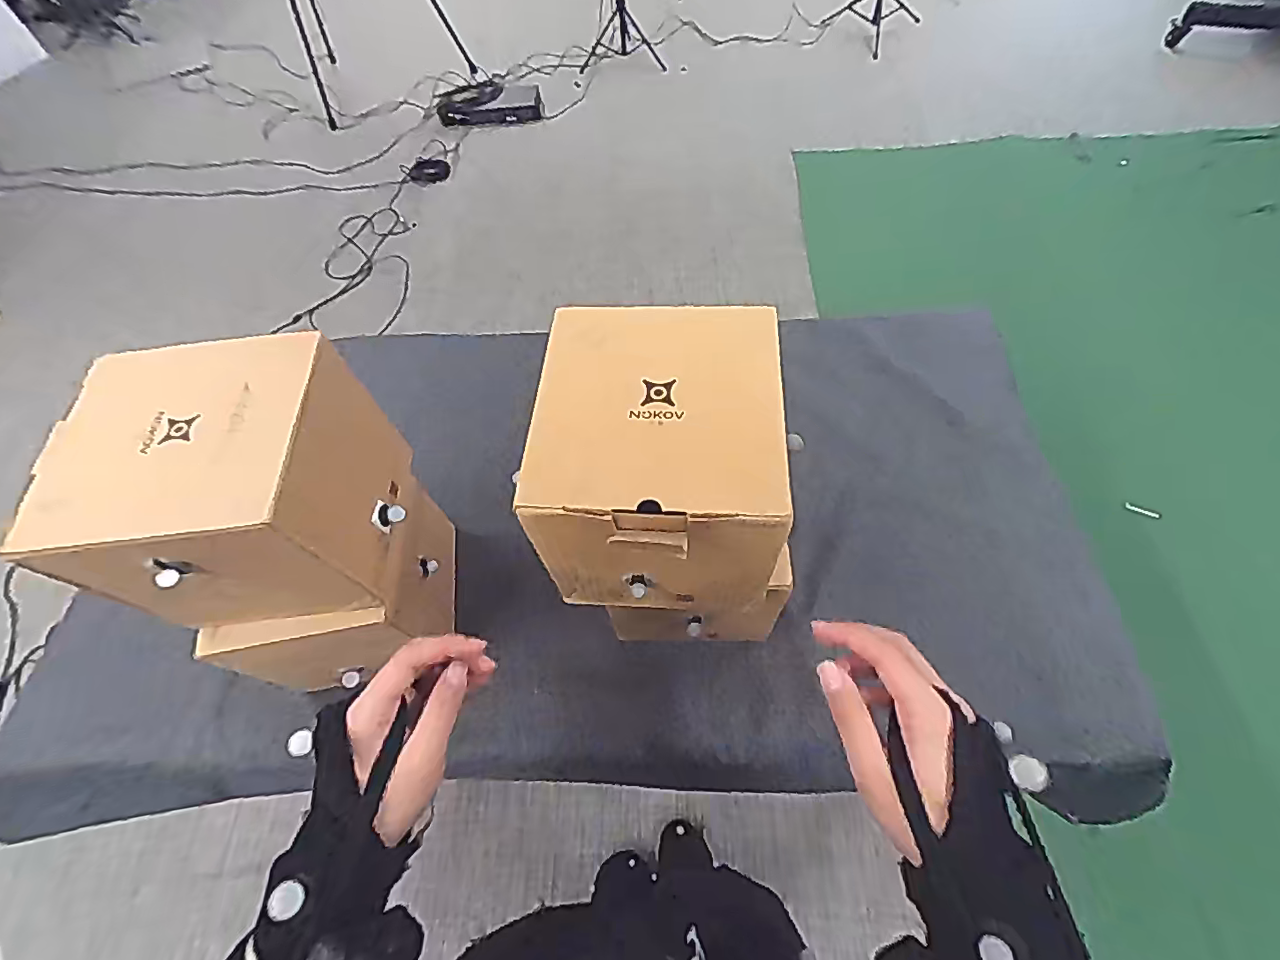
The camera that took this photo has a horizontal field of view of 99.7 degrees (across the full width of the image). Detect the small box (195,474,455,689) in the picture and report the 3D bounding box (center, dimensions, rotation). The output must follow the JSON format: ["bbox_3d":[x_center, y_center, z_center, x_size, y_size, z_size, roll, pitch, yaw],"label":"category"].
[{"bbox_3d":[-0.305,0.104,0.571,0.168,0.176,0.179,-10,59,-2],"label":"small box"}]

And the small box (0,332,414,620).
[{"bbox_3d":[-0.311,0.006,0.440,0.179,0.176,0.168,-6,60,-1],"label":"small box"}]

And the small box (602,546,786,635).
[{"bbox_3d":[0.053,0.062,0.575,0.168,0.176,0.179,-2,59,4],"label":"small box"}]

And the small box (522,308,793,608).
[{"bbox_3d":[0.018,-0.012,0.430,0.168,0.176,0.179,2,60,5],"label":"small box"}]
